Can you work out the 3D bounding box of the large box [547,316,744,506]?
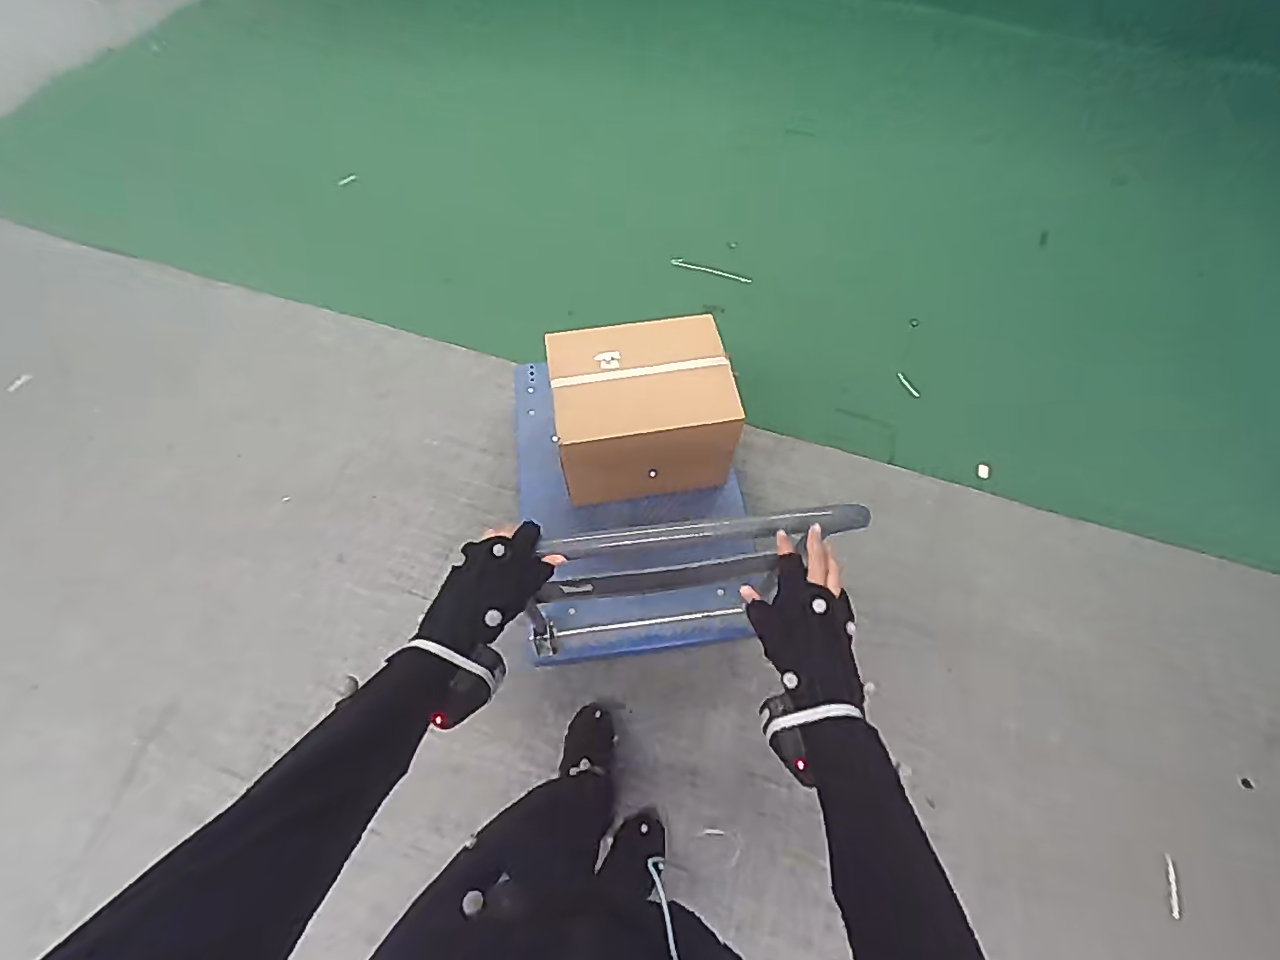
[{"bbox_3d":[0.007,-0.162,1.345,0.408,0.320,0.320,-9,61,-4],"label":"large box"}]
